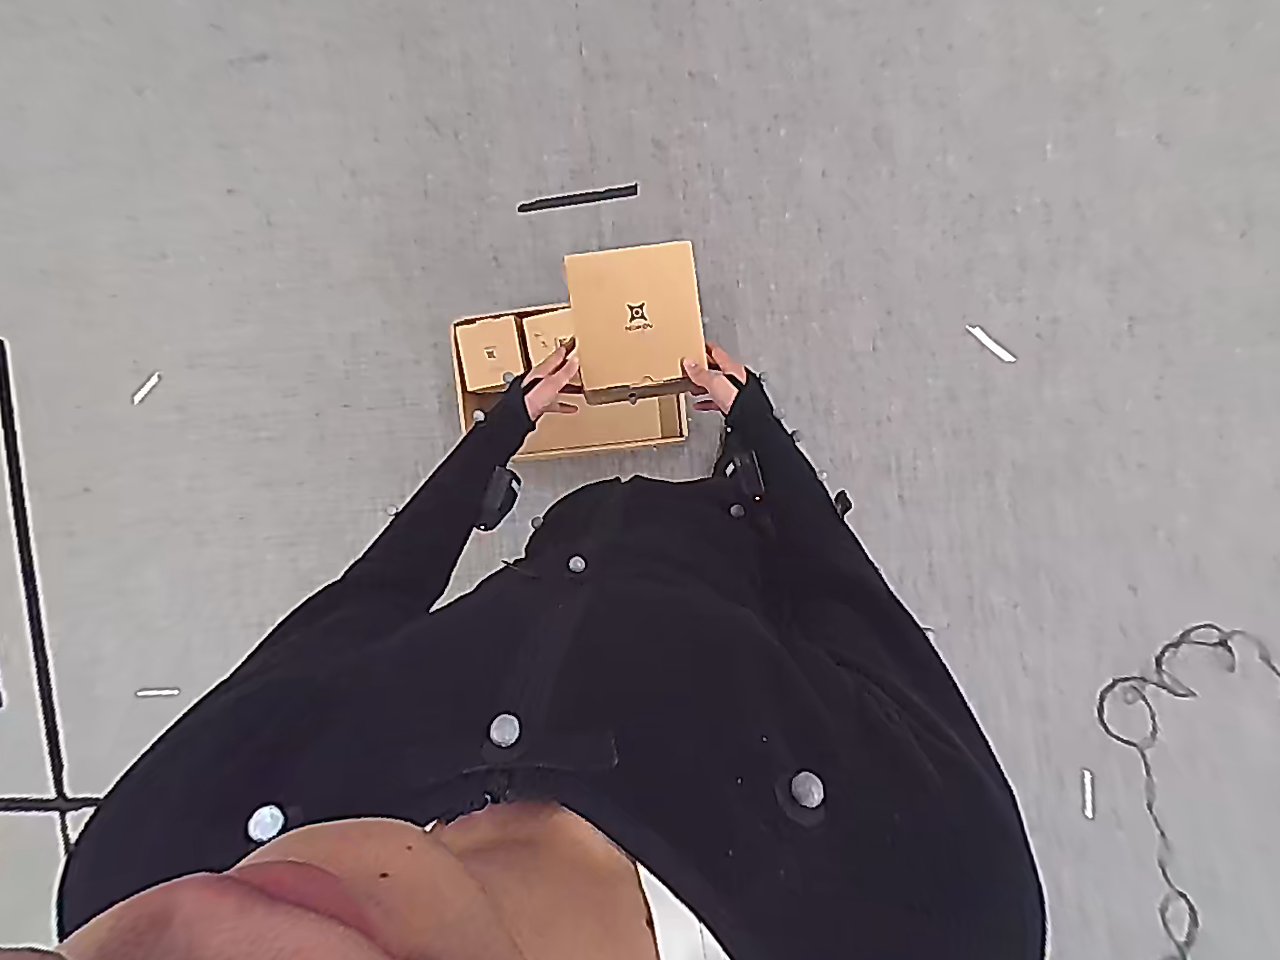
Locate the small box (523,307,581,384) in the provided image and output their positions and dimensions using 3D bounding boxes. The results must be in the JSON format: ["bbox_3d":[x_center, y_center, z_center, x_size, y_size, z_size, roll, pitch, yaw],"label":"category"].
[{"bbox_3d":[-0.202,-0.368,1.487,0.179,0.176,0.168,-11,93,5],"label":"small box"}]

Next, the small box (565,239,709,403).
[{"bbox_3d":[-0.009,-0.211,0.758,0.168,0.176,0.179,-9,94,-3],"label":"small box"}]
